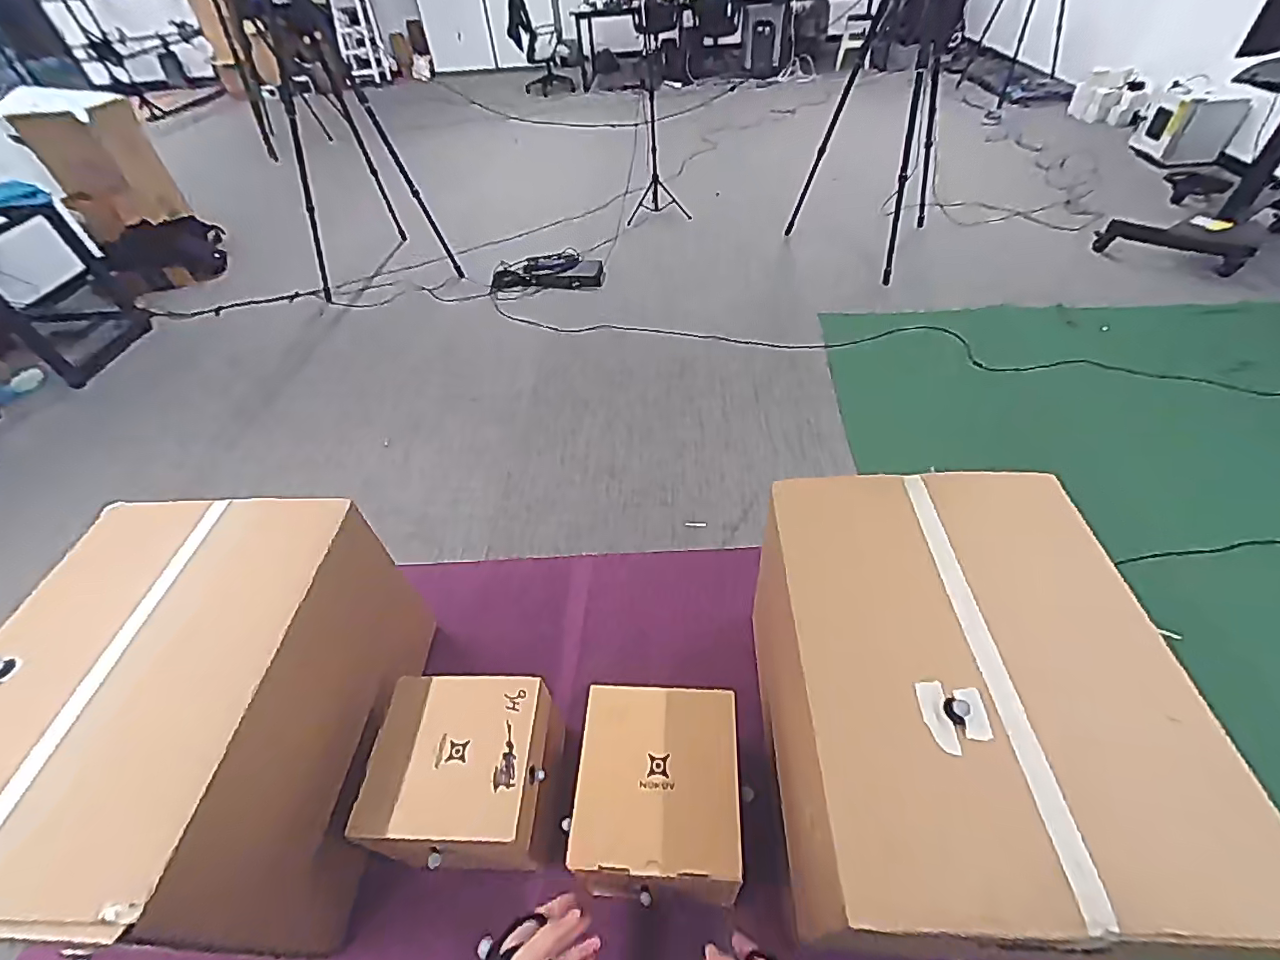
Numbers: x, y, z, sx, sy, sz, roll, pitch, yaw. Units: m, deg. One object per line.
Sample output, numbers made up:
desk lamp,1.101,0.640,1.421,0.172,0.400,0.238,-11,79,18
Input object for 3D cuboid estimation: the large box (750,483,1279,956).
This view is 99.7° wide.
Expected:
large box,0.312,0.252,0.601,0.320,0.320,0.408,-1,47,4
